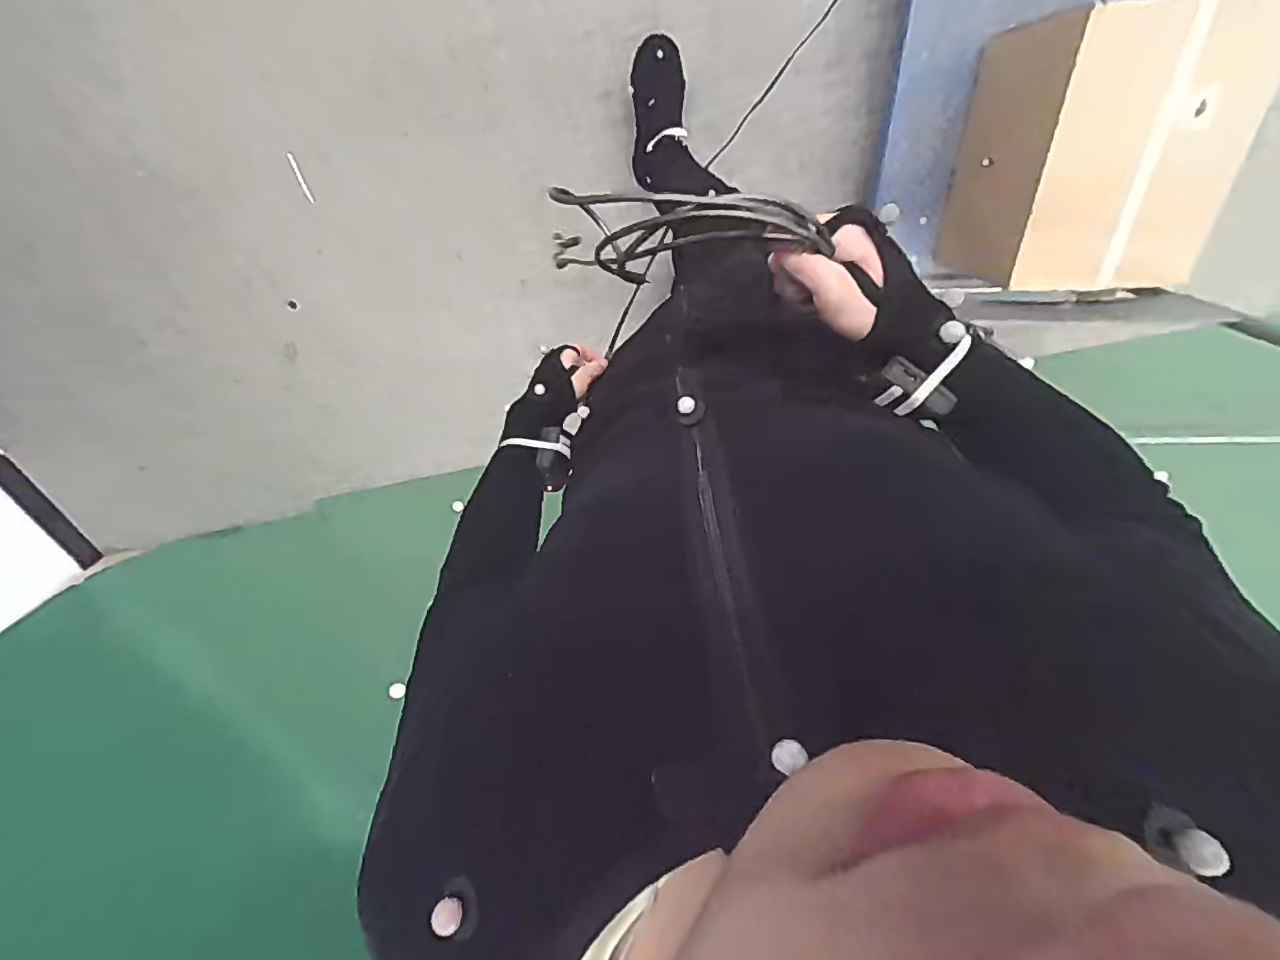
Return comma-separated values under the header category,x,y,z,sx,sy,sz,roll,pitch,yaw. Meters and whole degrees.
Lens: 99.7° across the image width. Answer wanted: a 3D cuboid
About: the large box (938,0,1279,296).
category,x,y,z,sx,sy,sz,roll,pitch,yaw
large box,0.807,-0.581,0.998,0.320,0.320,0.408,-1,120,2
